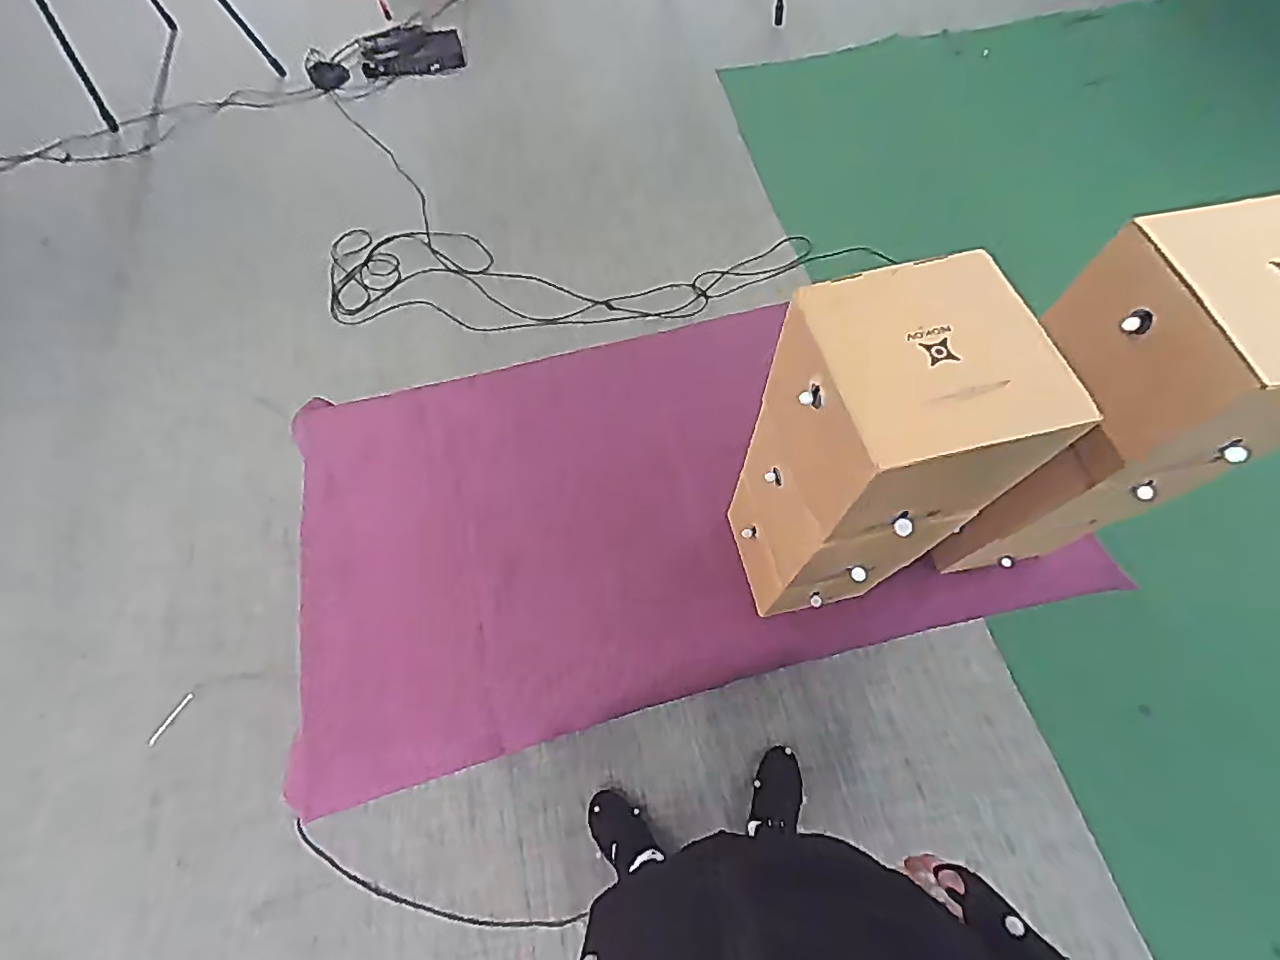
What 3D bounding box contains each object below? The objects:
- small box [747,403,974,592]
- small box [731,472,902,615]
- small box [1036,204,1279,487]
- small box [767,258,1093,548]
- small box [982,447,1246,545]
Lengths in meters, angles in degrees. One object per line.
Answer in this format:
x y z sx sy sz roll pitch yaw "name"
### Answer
0.231 0.013 0.626 0.168 0.176 0.179 -11 65 -3 "small box"
0.236 0.086 0.773 0.168 0.176 0.179 -11 64 -3 "small box"
0.502 -0.114 0.489 0.168 0.176 0.179 -9 65 -1 "small box"
0.224 -0.060 0.481 0.168 0.176 0.179 -12 65 -2 "small box"
0.508 -0.042 0.638 0.168 0.176 0.179 -10 64 -1 "small box"
